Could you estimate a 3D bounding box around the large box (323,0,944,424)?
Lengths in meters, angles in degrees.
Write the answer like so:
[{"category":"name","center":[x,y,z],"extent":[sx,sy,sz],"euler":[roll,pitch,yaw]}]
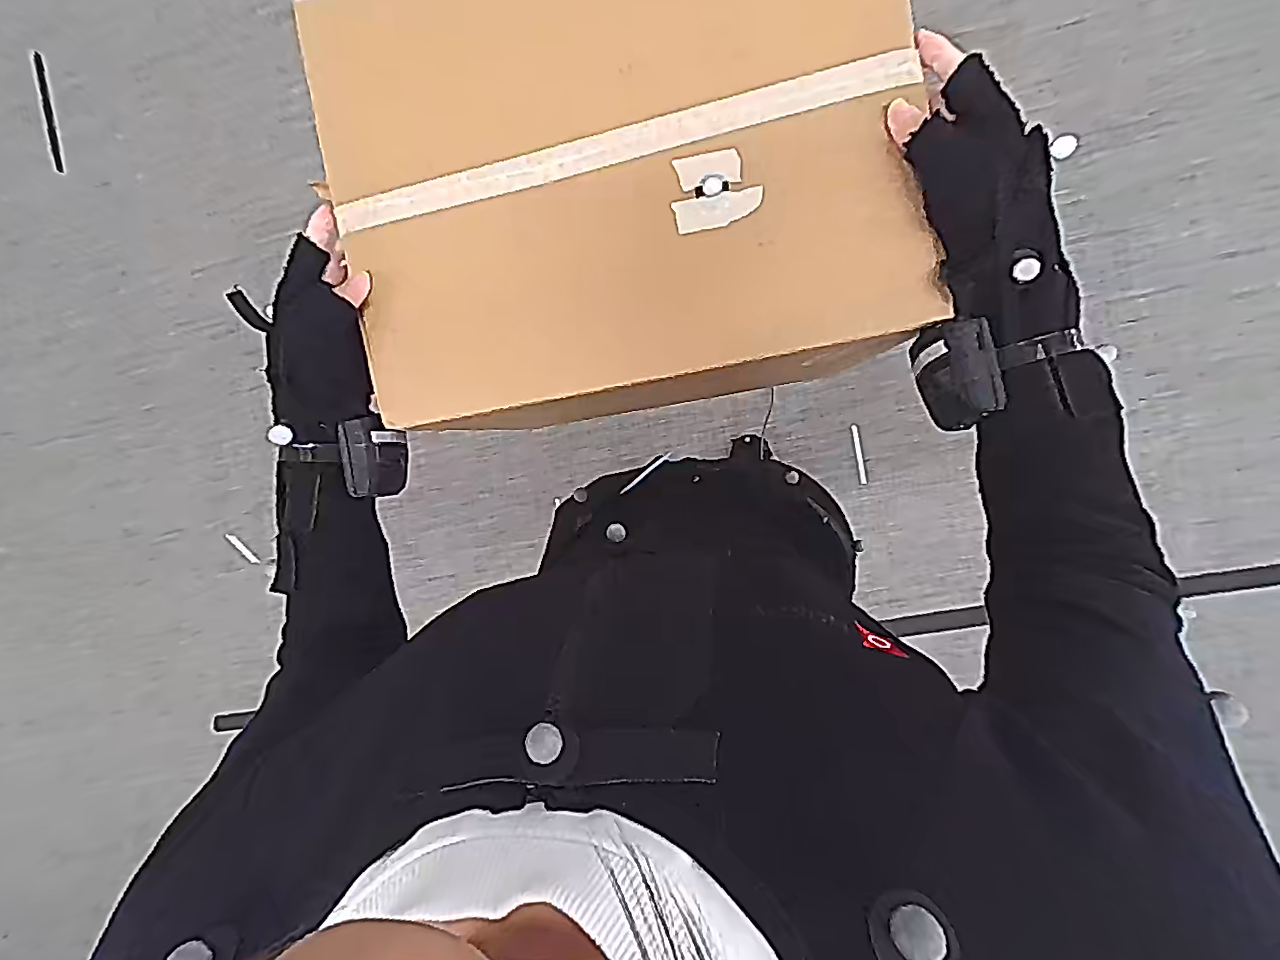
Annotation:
[{"category":"large box","center":[0.001,-0.244,0.527],"extent":[0.408,0.320,0.320],"euler":[-10,95,8]}]
